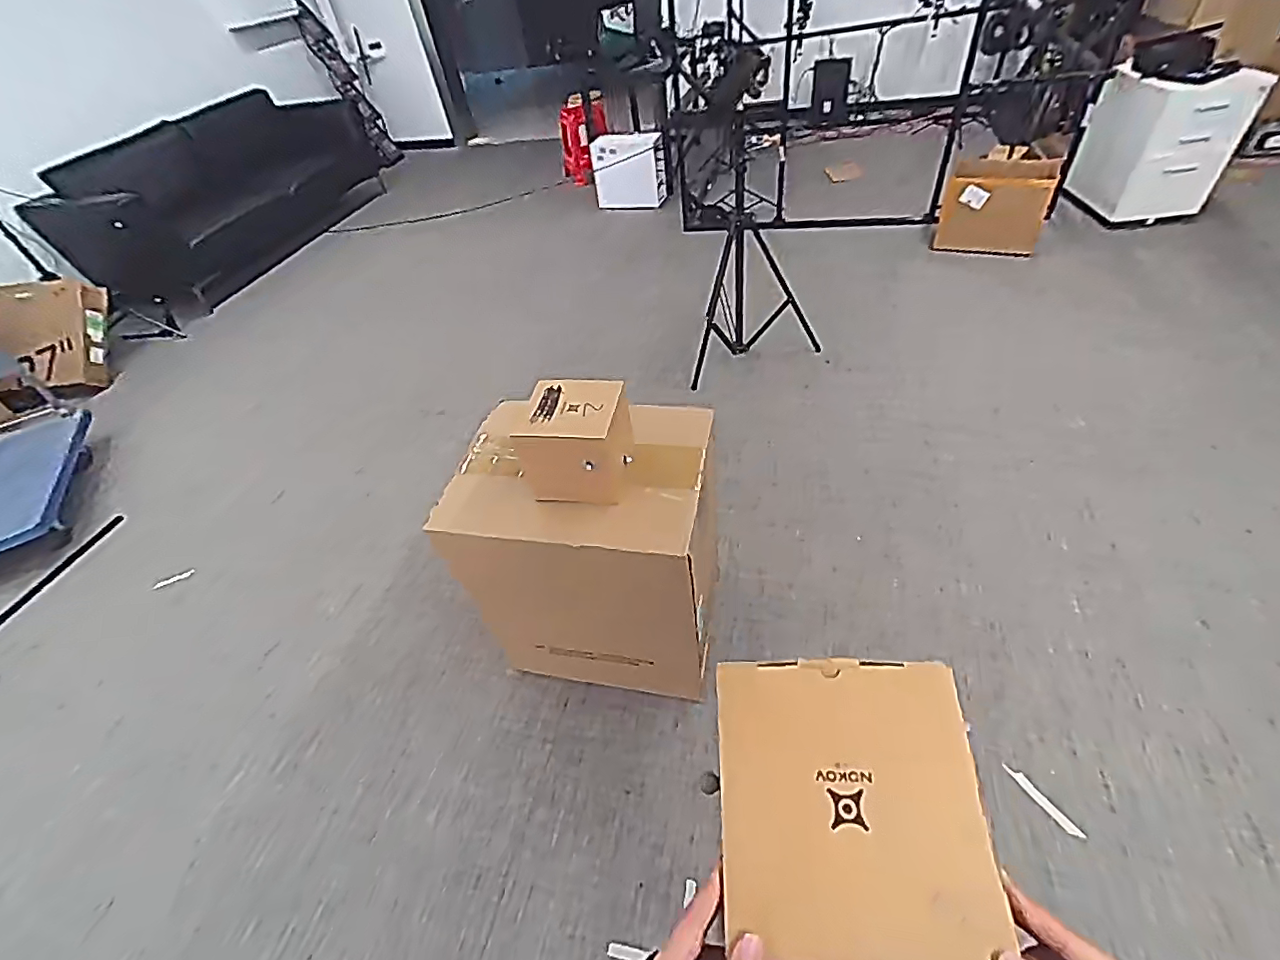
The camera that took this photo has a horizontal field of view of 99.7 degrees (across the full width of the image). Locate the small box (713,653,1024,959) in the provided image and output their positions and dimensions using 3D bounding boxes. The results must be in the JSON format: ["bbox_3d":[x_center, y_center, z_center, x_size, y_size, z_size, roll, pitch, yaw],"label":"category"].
[{"bbox_3d":[0.146,0.240,0.412,0.168,0.176,0.179,-4,58,10],"label":"small box"}]
